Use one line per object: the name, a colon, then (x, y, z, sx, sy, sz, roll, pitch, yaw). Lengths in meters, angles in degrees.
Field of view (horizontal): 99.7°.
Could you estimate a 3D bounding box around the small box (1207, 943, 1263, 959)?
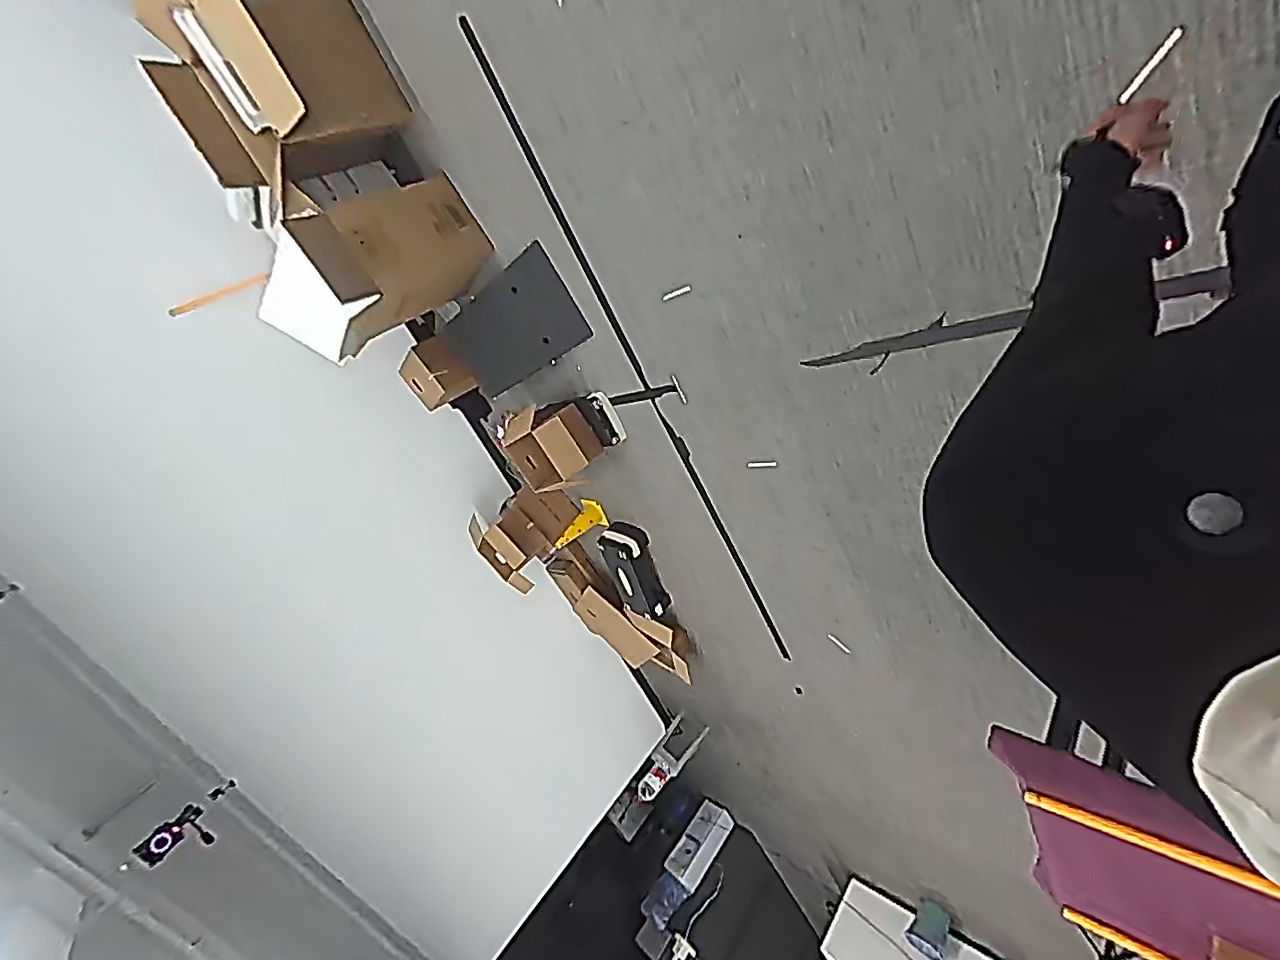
small box: (1.310, 1.129, 1.131, 0.179, 0.176, 0.168, 0, 123, 50)
